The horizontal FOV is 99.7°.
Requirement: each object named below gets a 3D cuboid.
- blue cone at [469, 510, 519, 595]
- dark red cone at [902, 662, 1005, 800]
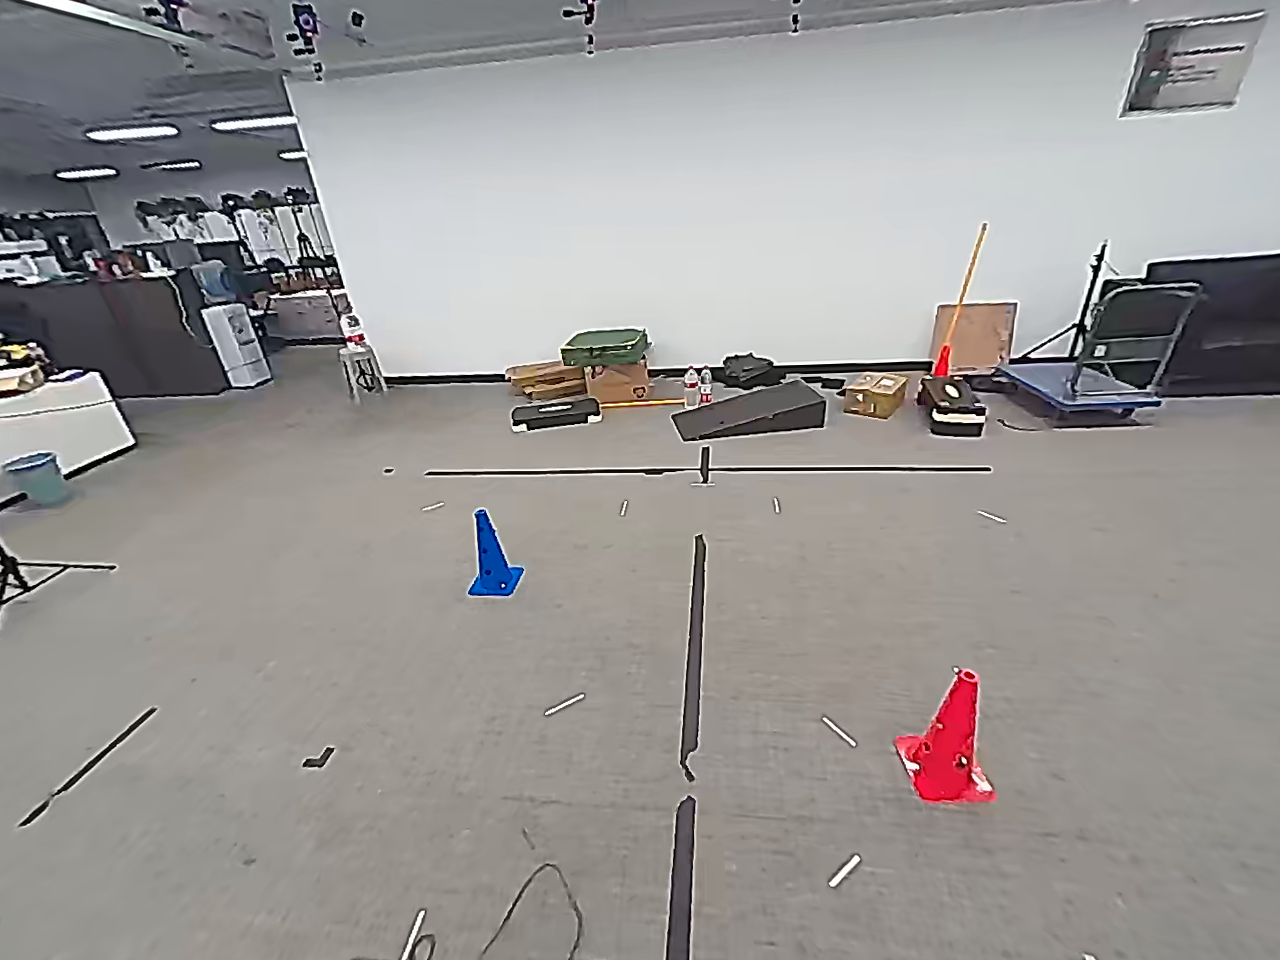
[{"bbox_3d":[-0.649,0.297,2.292,0.192,0.380,0.193,0,27,9],"label":"blue cone"},{"bbox_3d":[0.829,0.622,1.392,0.201,0.394,0.202,-4,27,2],"label":"dark red cone"}]
